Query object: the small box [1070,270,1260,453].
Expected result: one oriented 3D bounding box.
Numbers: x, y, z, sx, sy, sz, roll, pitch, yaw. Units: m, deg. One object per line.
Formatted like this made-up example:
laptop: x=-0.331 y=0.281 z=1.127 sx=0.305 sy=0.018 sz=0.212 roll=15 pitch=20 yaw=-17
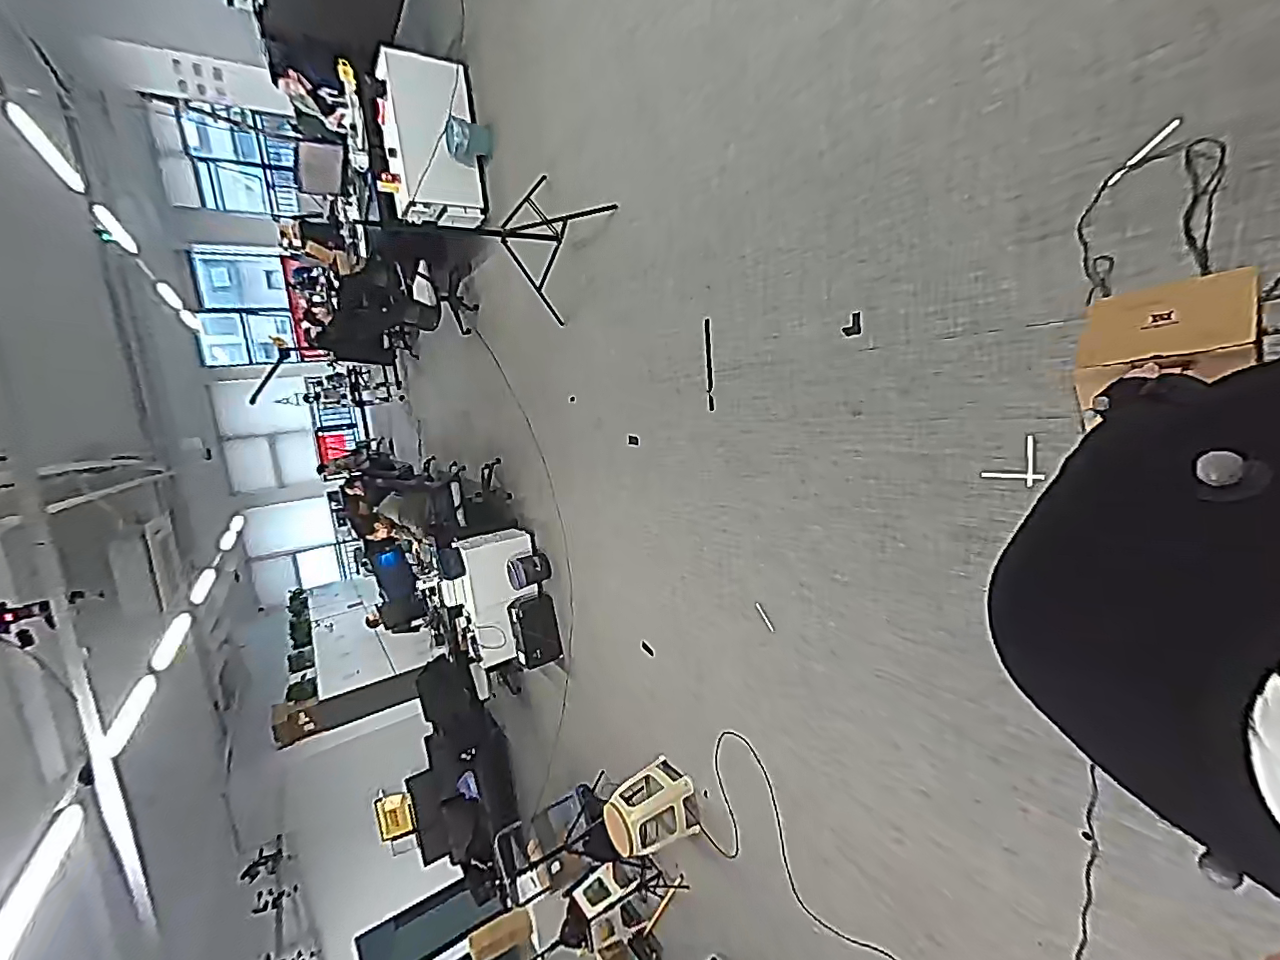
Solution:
small box: x=0.722 y=-0.148 z=0.741 sx=0.168 sy=0.179 sz=0.176 roll=-1 pitch=133 yaw=50
